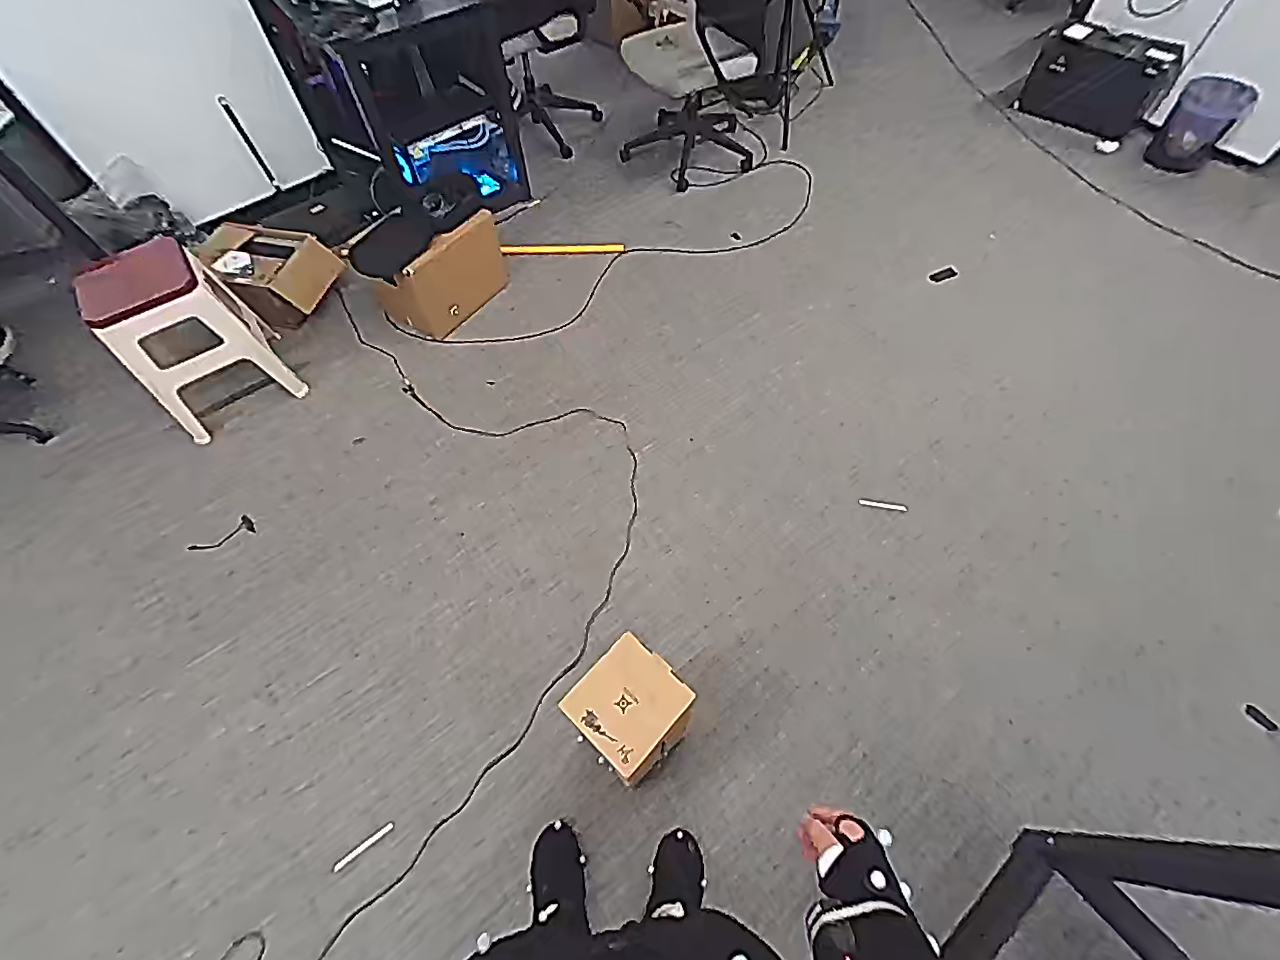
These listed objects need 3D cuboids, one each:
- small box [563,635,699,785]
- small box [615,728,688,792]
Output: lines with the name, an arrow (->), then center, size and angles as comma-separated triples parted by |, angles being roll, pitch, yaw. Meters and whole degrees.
small box -> -0.016, 0.420, 0.980 | 0.168, 0.176, 0.179 | 38, 66, 23
small box -> -0.009, 0.592, 1.258 | 0.179, 0.176, 0.168 | -38, 65, -19
